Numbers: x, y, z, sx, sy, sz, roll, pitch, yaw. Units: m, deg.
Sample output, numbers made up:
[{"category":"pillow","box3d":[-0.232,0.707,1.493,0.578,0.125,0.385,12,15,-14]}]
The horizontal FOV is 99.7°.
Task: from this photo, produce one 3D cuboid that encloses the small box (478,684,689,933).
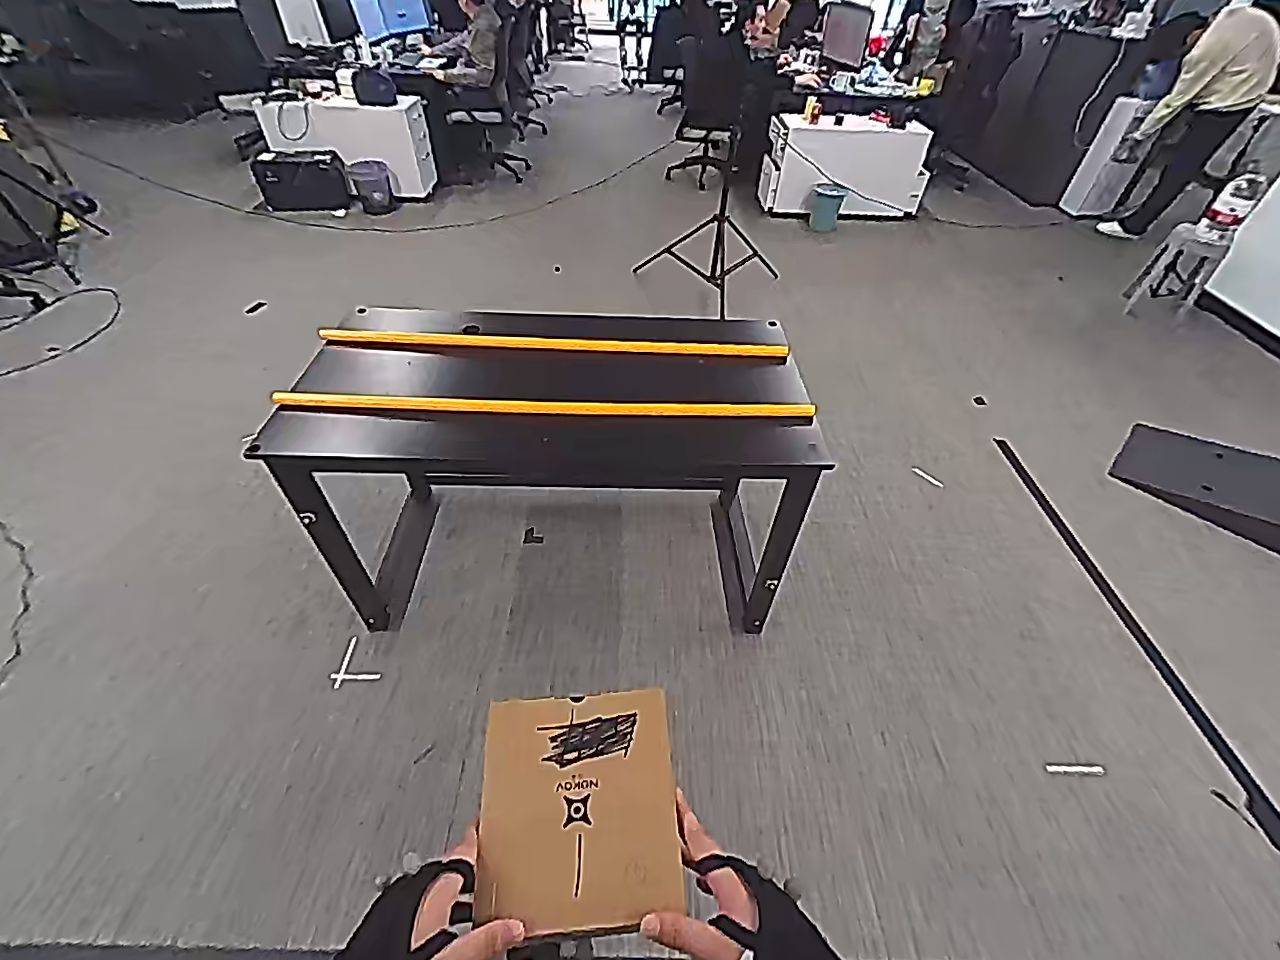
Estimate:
[{"category":"small box","box3d":[-0.049,0.321,0.529,0.168,0.176,0.179,-4,49,-3]}]
